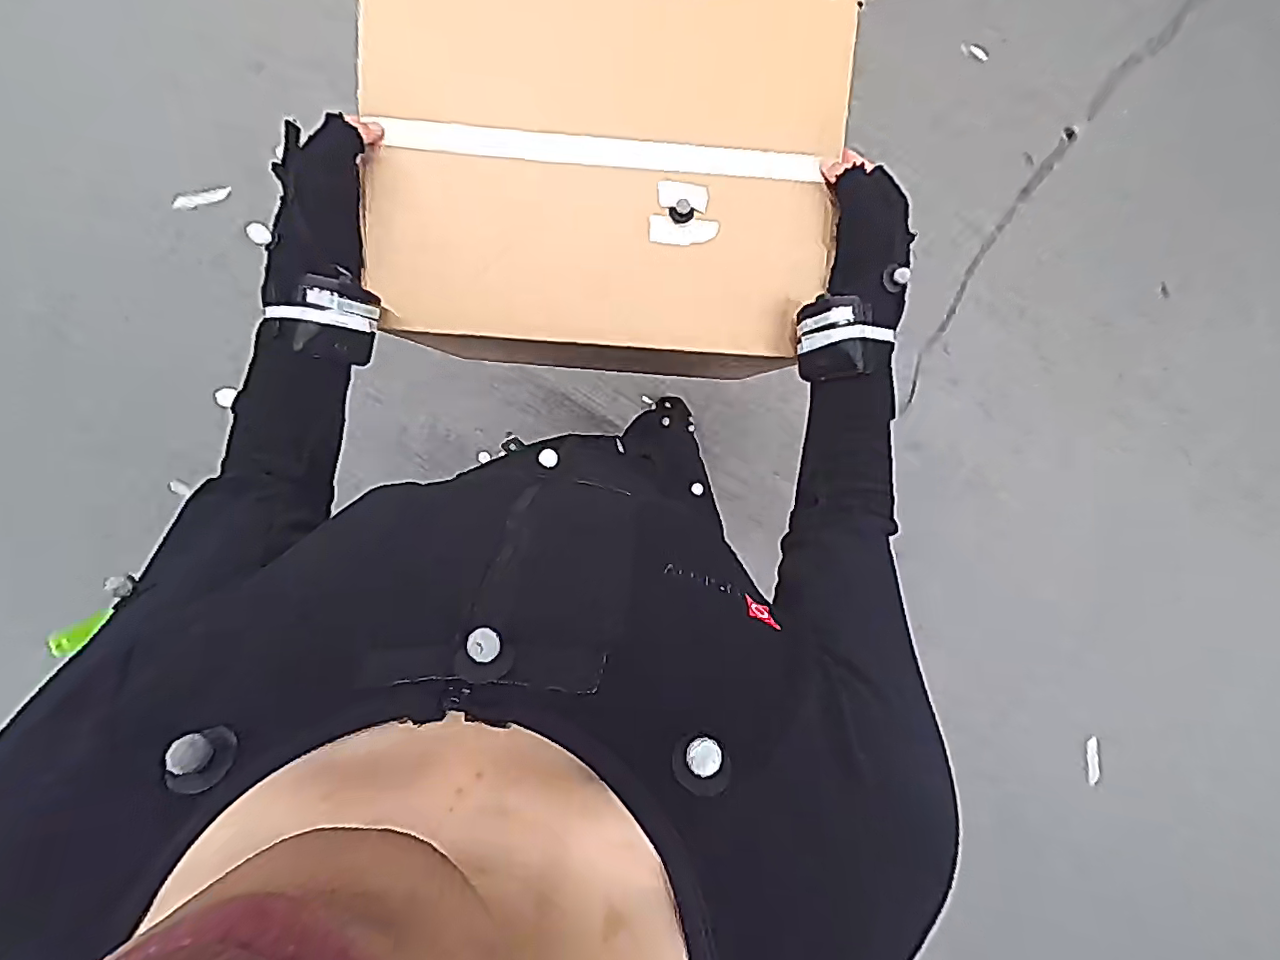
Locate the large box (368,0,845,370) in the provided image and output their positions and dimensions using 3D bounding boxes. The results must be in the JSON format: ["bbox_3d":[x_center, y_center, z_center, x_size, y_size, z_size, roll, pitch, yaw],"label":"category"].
[{"bbox_3d":[-0.038,-0.299,0.609,0.408,0.320,0.320,2,97,-4],"label":"large box"}]
